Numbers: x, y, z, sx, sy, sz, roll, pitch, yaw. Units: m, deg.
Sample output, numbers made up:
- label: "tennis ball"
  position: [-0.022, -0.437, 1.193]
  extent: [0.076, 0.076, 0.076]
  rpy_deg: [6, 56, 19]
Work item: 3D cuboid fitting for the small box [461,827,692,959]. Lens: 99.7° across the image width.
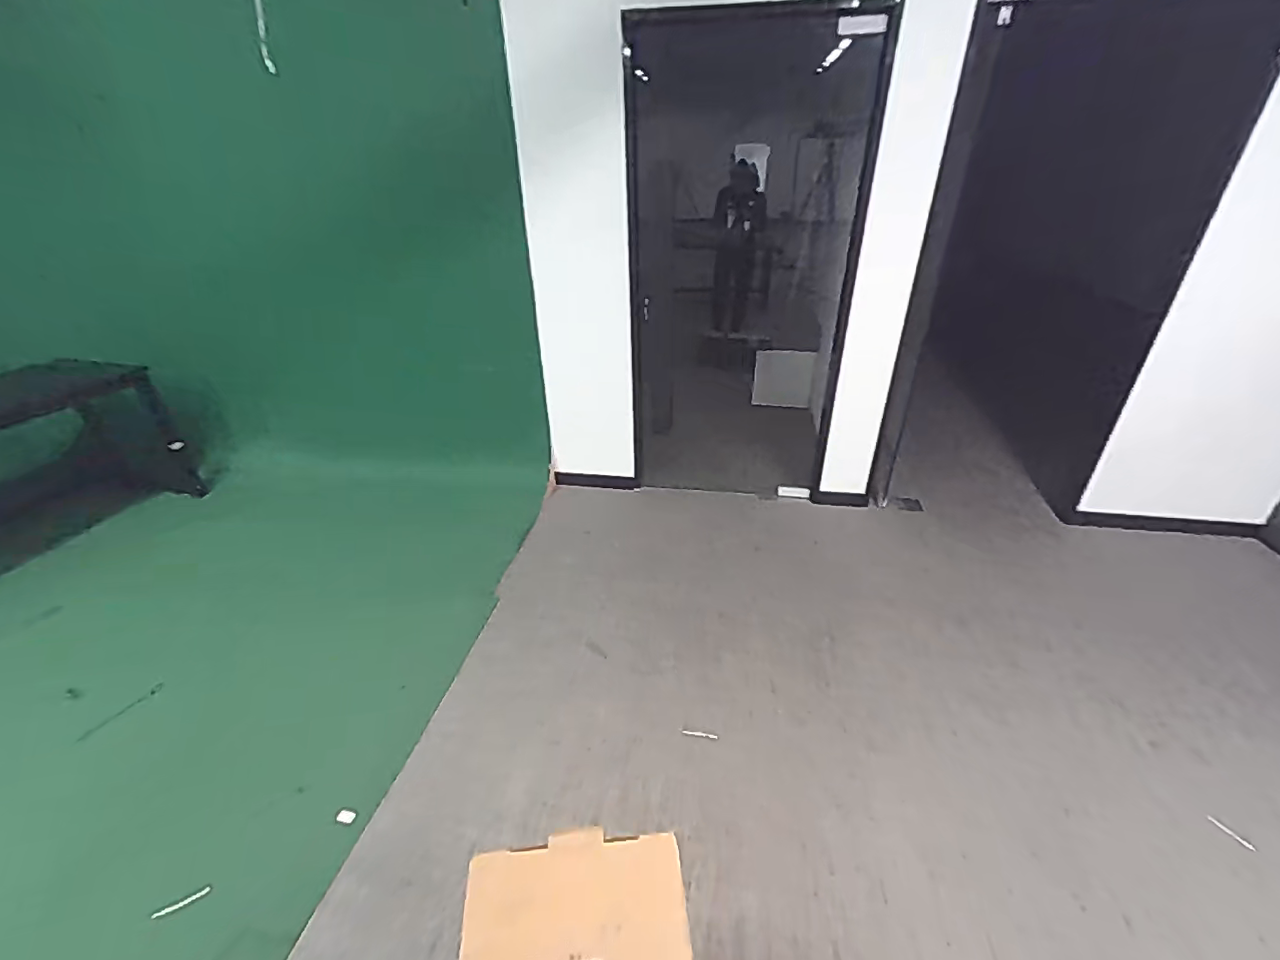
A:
- label: "small box"
  position: [-0.048, 0.405, 0.426]
  extent: [0.168, 0.176, 0.179]
  rpy_deg: [-2, 42, -6]
